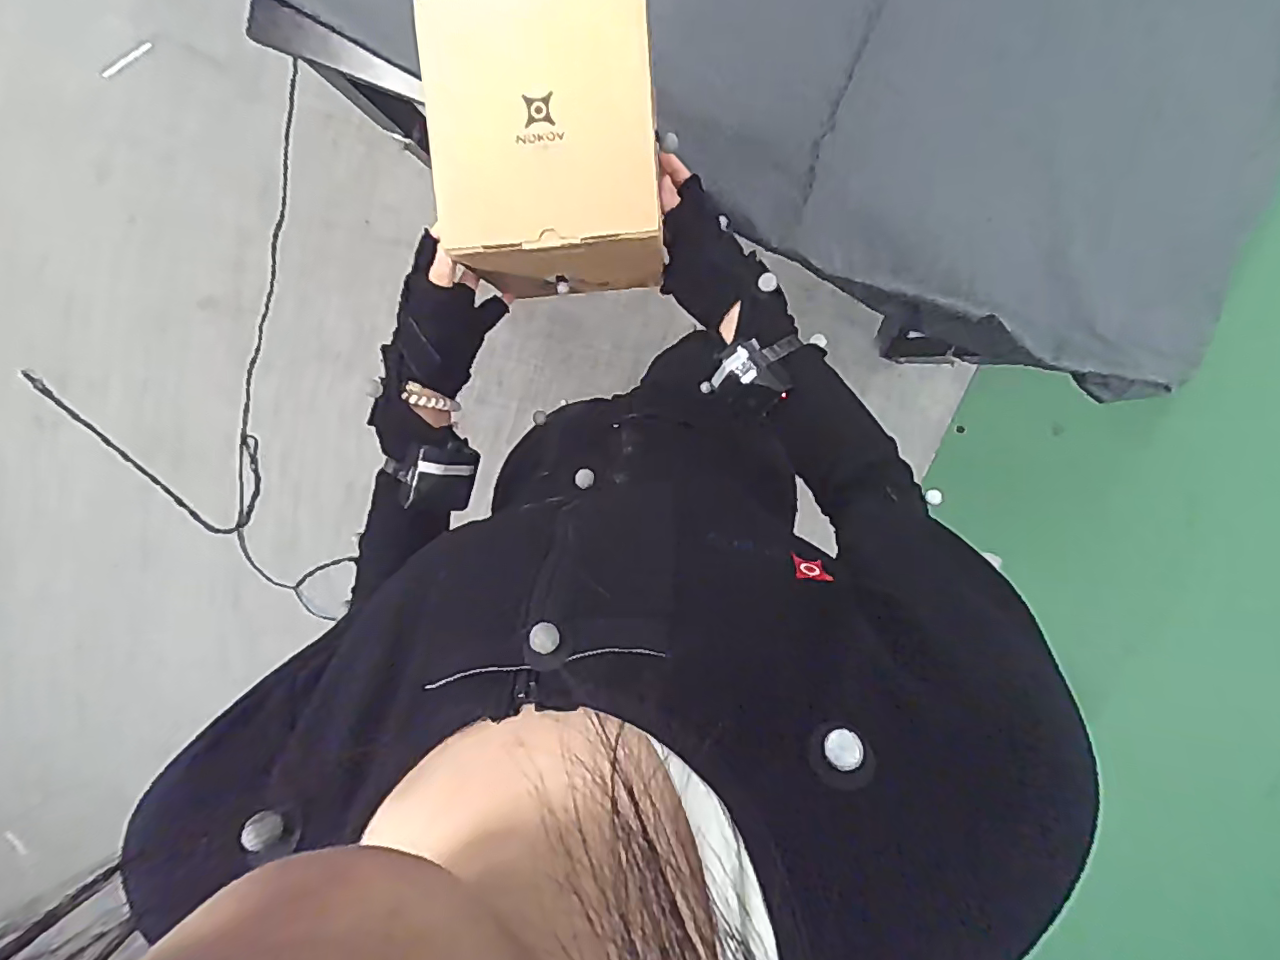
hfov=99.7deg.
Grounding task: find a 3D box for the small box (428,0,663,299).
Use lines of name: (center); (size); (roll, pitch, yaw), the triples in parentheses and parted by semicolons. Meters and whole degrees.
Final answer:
small box: (-0.067, -0.273, 0.485); (0.168, 0.176, 0.179); (-4, 99, 4)
